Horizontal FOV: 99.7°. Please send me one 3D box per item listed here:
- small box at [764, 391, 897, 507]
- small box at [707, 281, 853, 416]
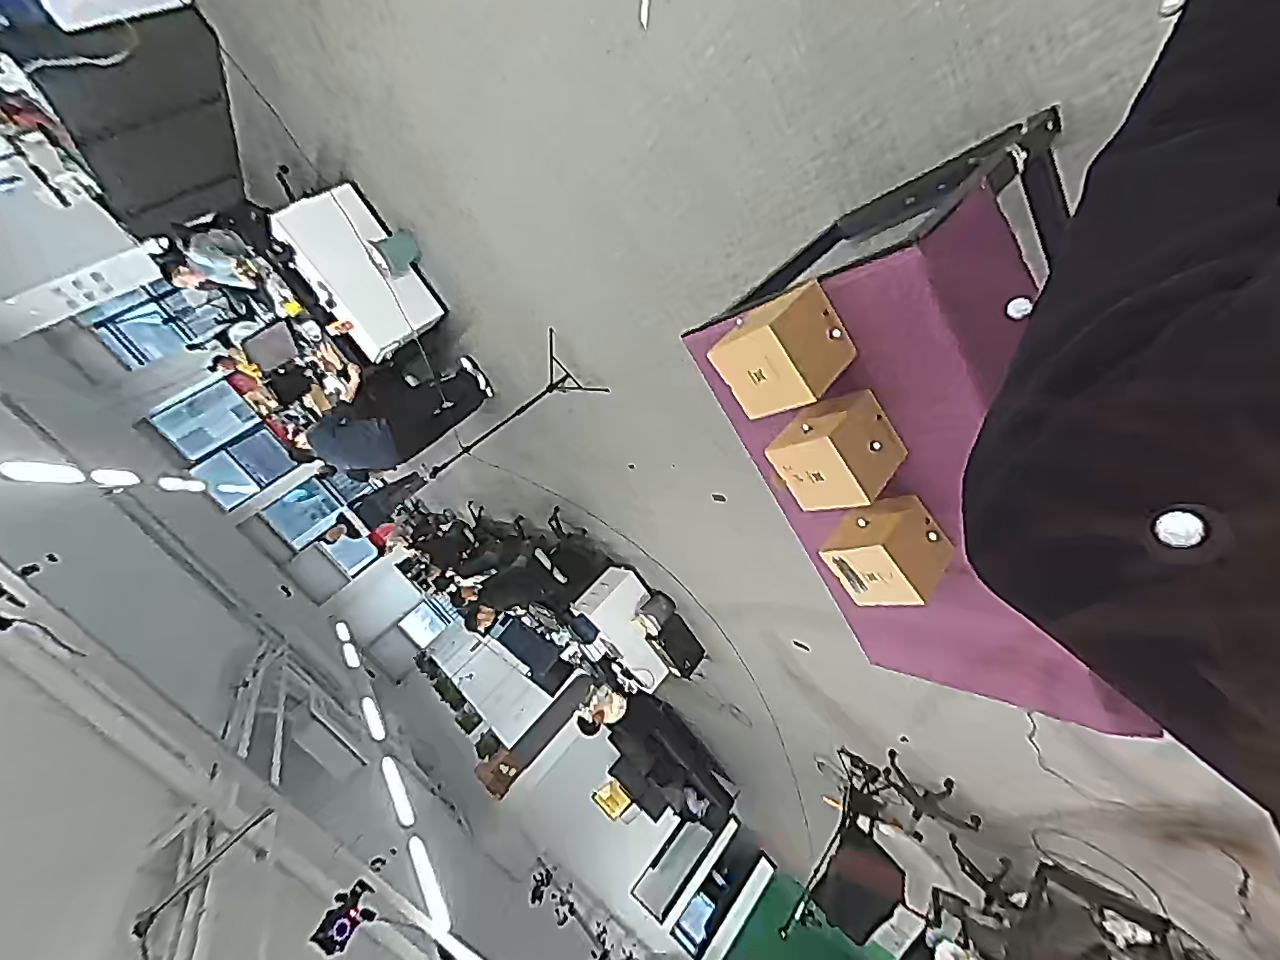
[{"bbox_3d":[0.400,-0.062,1.118,0.168,0.176,0.179,53,154,-13],"label":"small box"},{"bbox_3d":[0.270,-0.249,1.044,0.168,0.176,0.179,52,154,-16],"label":"small box"}]
